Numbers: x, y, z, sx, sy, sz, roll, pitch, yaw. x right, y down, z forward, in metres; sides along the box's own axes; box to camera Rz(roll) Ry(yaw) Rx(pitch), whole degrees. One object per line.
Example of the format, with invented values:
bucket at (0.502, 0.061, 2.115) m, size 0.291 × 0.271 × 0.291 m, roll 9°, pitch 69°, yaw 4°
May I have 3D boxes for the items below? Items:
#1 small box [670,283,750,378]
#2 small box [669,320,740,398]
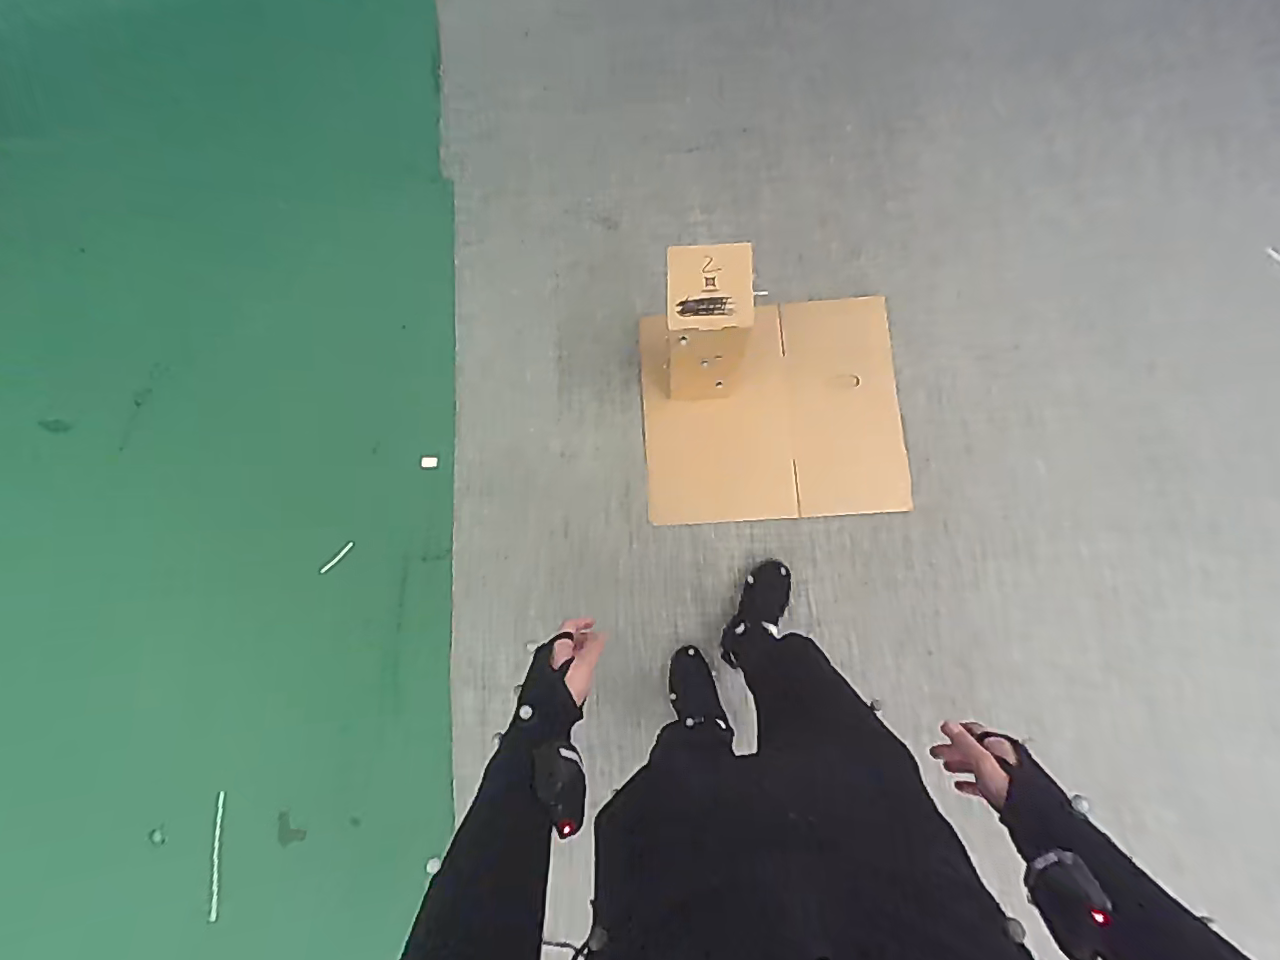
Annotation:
small box at (0.160, -0.346, 1.278) m, size 0.179 × 0.176 × 0.168 m, roll -2°, pitch 82°, yaw 5°
small box at (0.167, -0.321, 1.437) m, size 0.179 × 0.176 × 0.168 m, roll -2°, pitch 81°, yaw 5°
